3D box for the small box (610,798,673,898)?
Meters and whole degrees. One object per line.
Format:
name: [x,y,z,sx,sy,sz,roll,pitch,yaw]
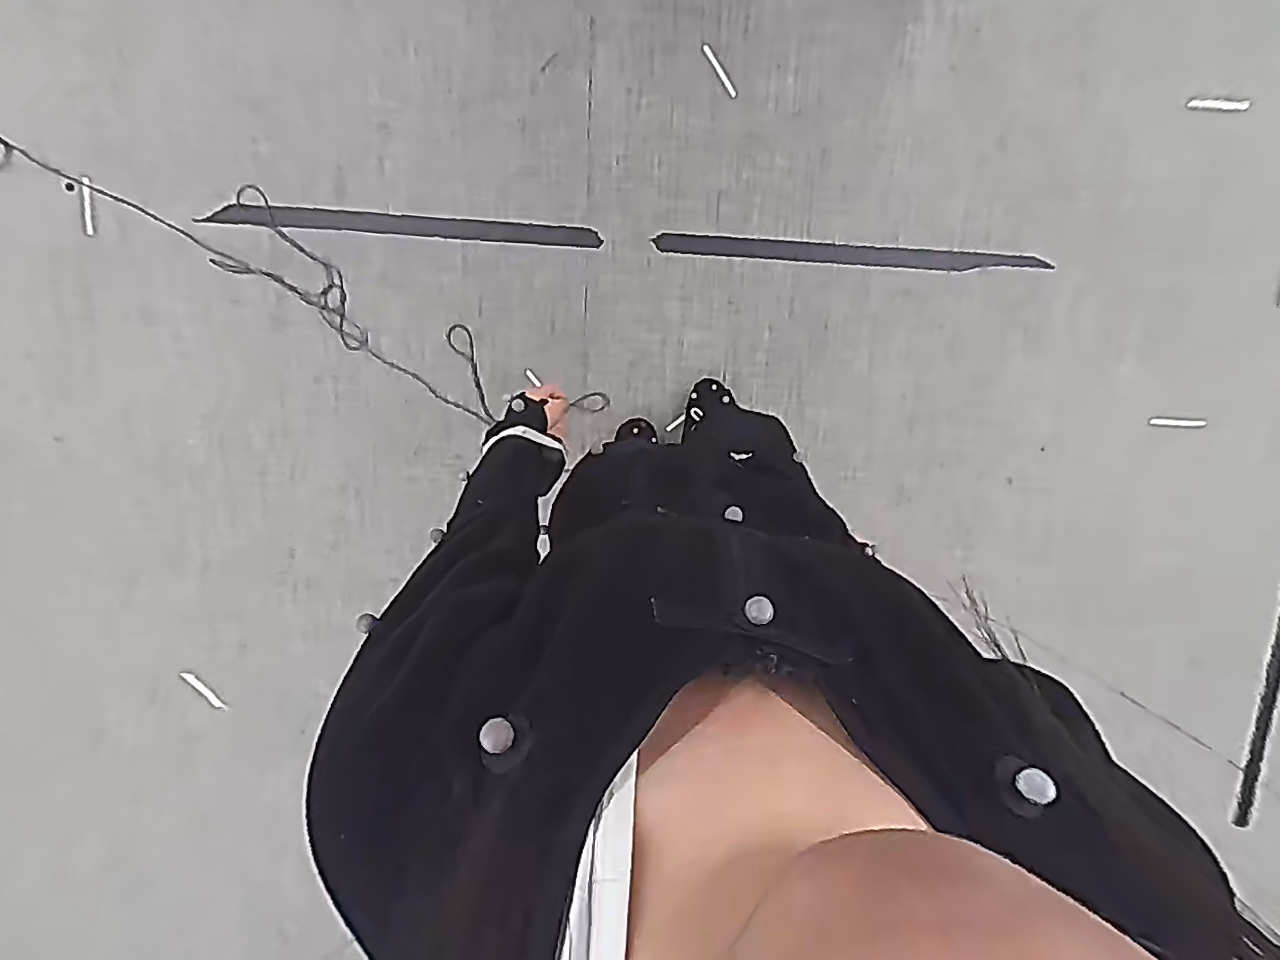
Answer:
small box: [0.002,1.039,1.543,0.168,0.176,0.179,-4,98,-1]
